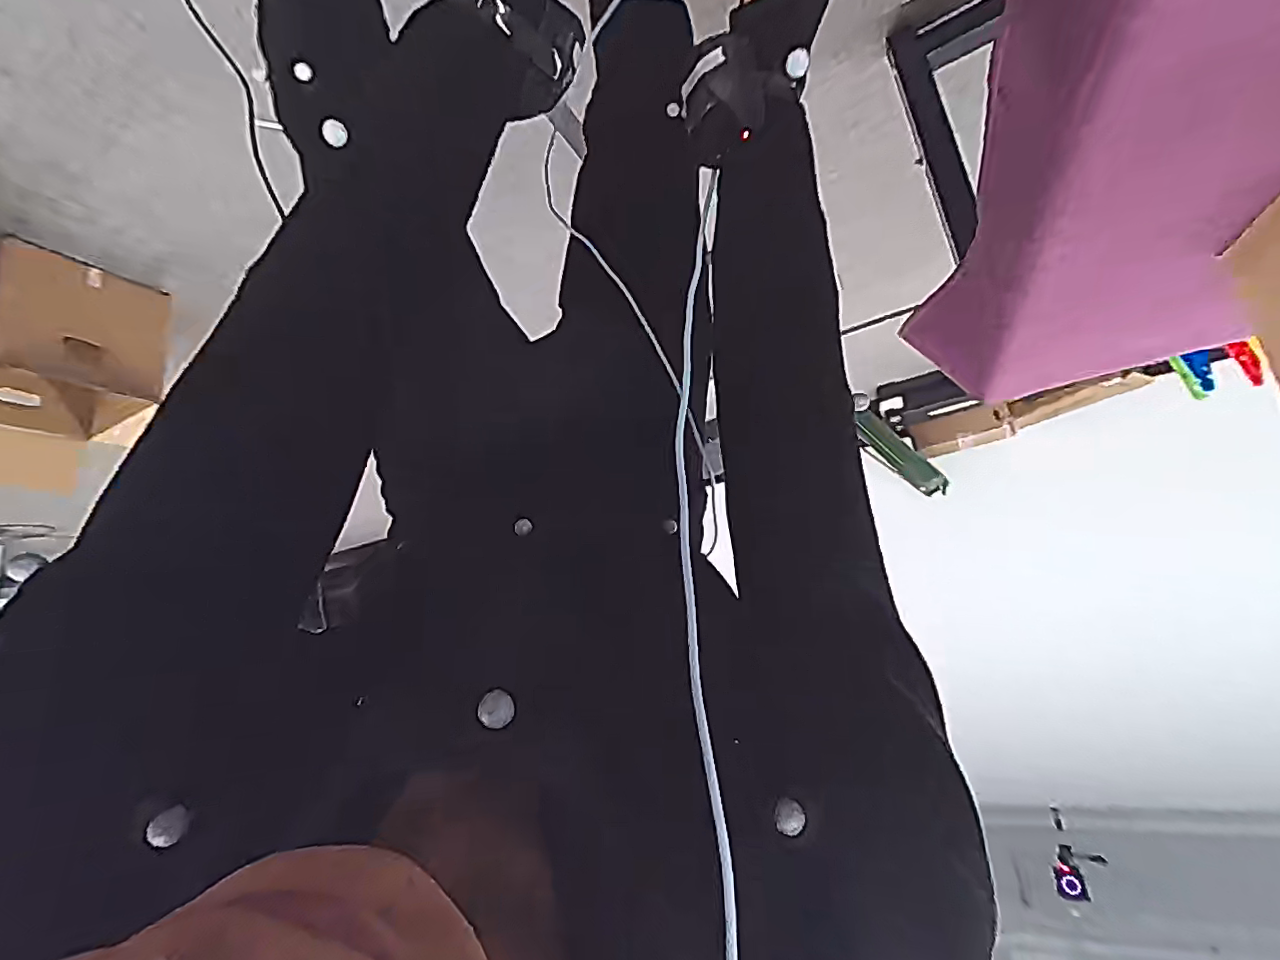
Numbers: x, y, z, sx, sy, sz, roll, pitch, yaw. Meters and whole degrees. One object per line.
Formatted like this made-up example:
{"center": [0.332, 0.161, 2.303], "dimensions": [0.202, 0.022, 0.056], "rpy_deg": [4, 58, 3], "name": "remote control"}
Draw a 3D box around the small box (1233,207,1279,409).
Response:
{"center": [0.622, -0.170, 0.413], "dimensions": [0.168, 0.176, 0.179], "rpy_deg": [-14, 166, 22], "name": "small box"}
